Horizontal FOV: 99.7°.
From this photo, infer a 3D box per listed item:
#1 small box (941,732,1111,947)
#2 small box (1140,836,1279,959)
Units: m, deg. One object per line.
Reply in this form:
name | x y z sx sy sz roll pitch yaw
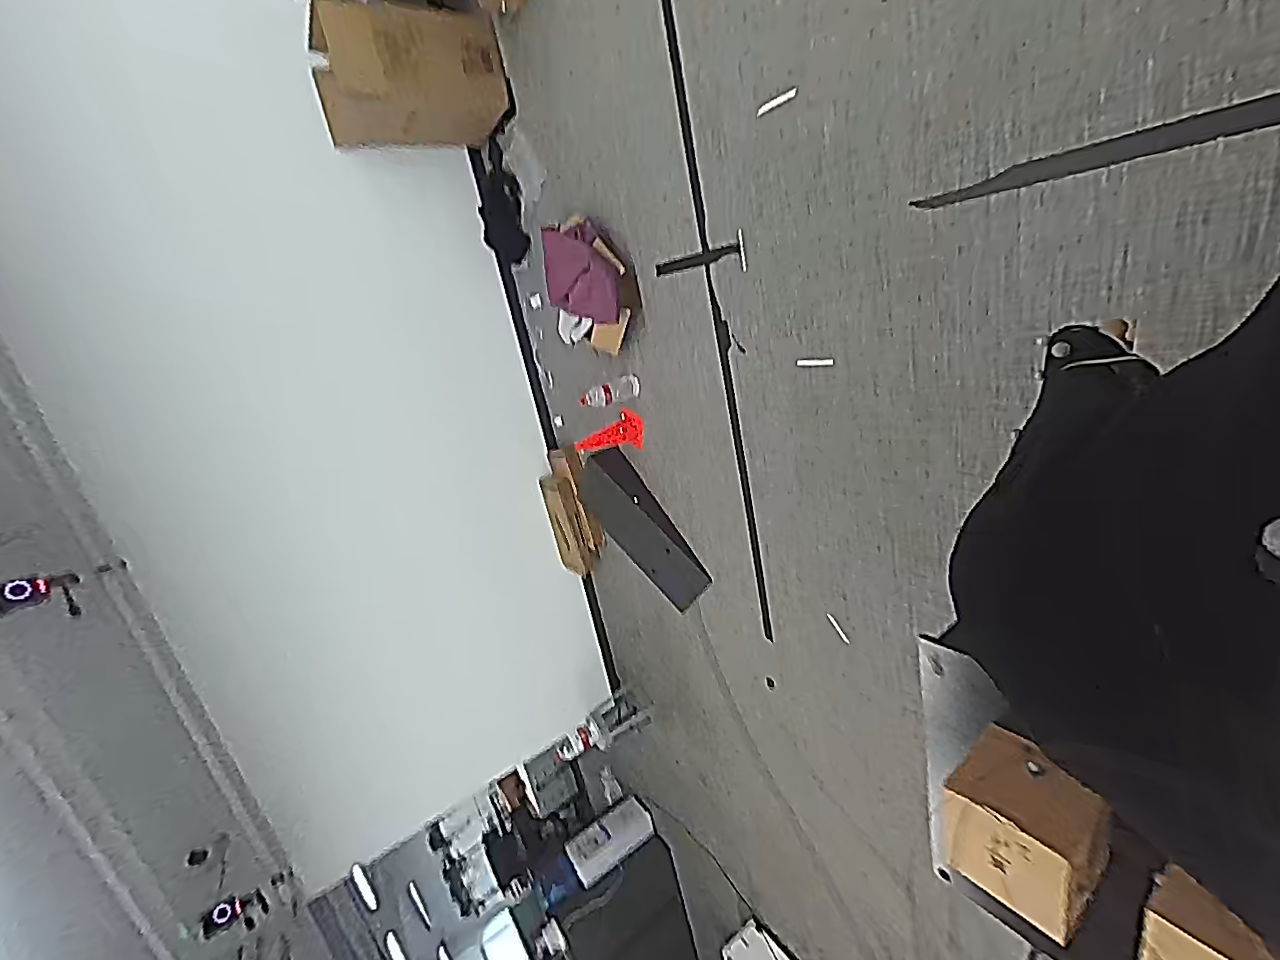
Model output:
small box | 0.592 0.538 0.834 0.168 0.176 0.179 15 123 53
small box | 0.730 0.576 0.634 0.179 0.176 0.168 17 124 55
